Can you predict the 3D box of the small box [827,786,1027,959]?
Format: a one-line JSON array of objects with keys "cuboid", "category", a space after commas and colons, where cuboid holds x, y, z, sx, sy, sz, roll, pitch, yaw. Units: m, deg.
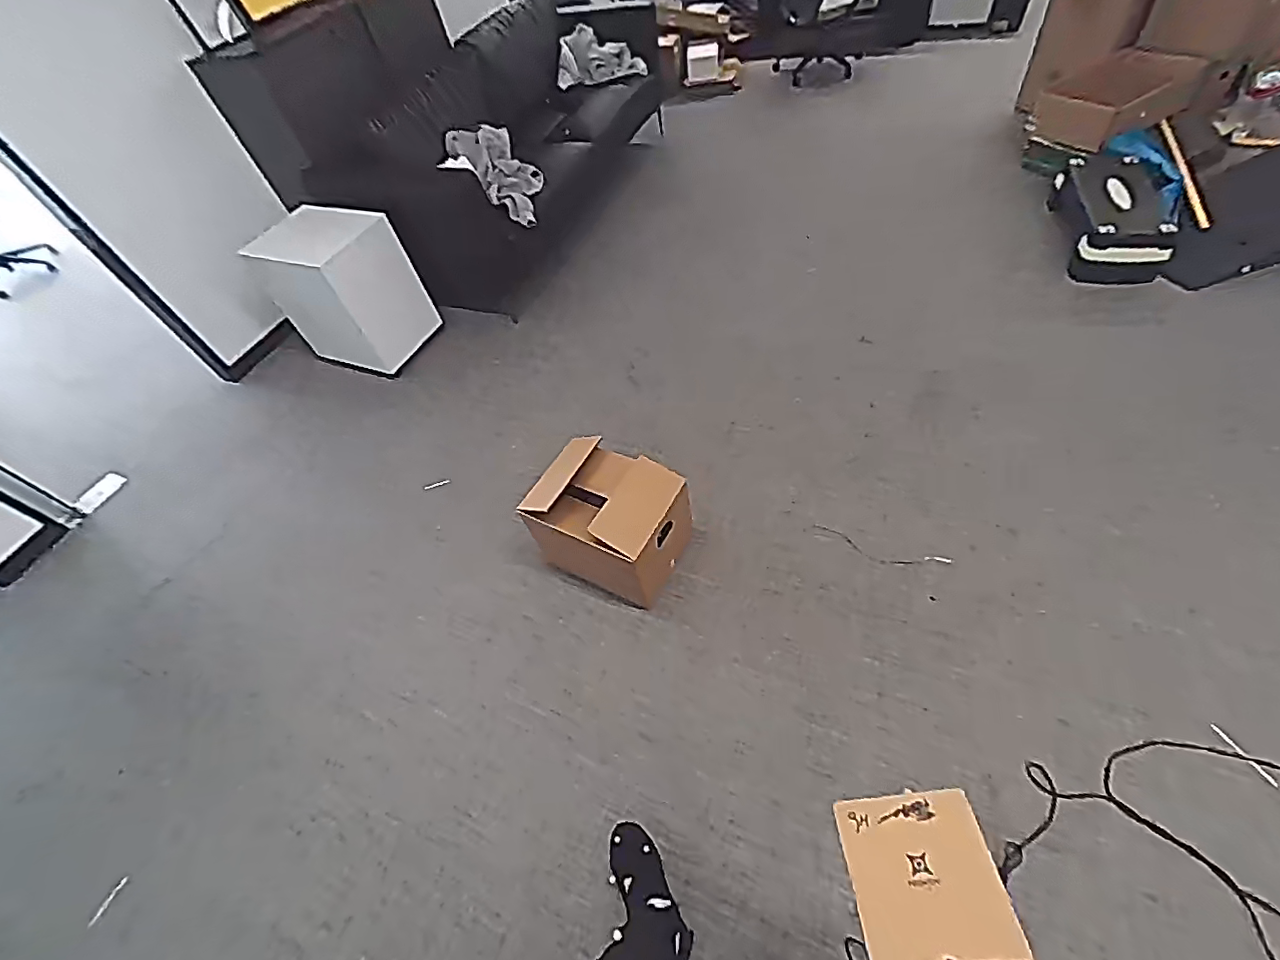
[{"cuboid": [0.360, 0.530, 0.689, 0.168, 0.176, 0.179, -19, 34, 12], "category": "small box"}]
